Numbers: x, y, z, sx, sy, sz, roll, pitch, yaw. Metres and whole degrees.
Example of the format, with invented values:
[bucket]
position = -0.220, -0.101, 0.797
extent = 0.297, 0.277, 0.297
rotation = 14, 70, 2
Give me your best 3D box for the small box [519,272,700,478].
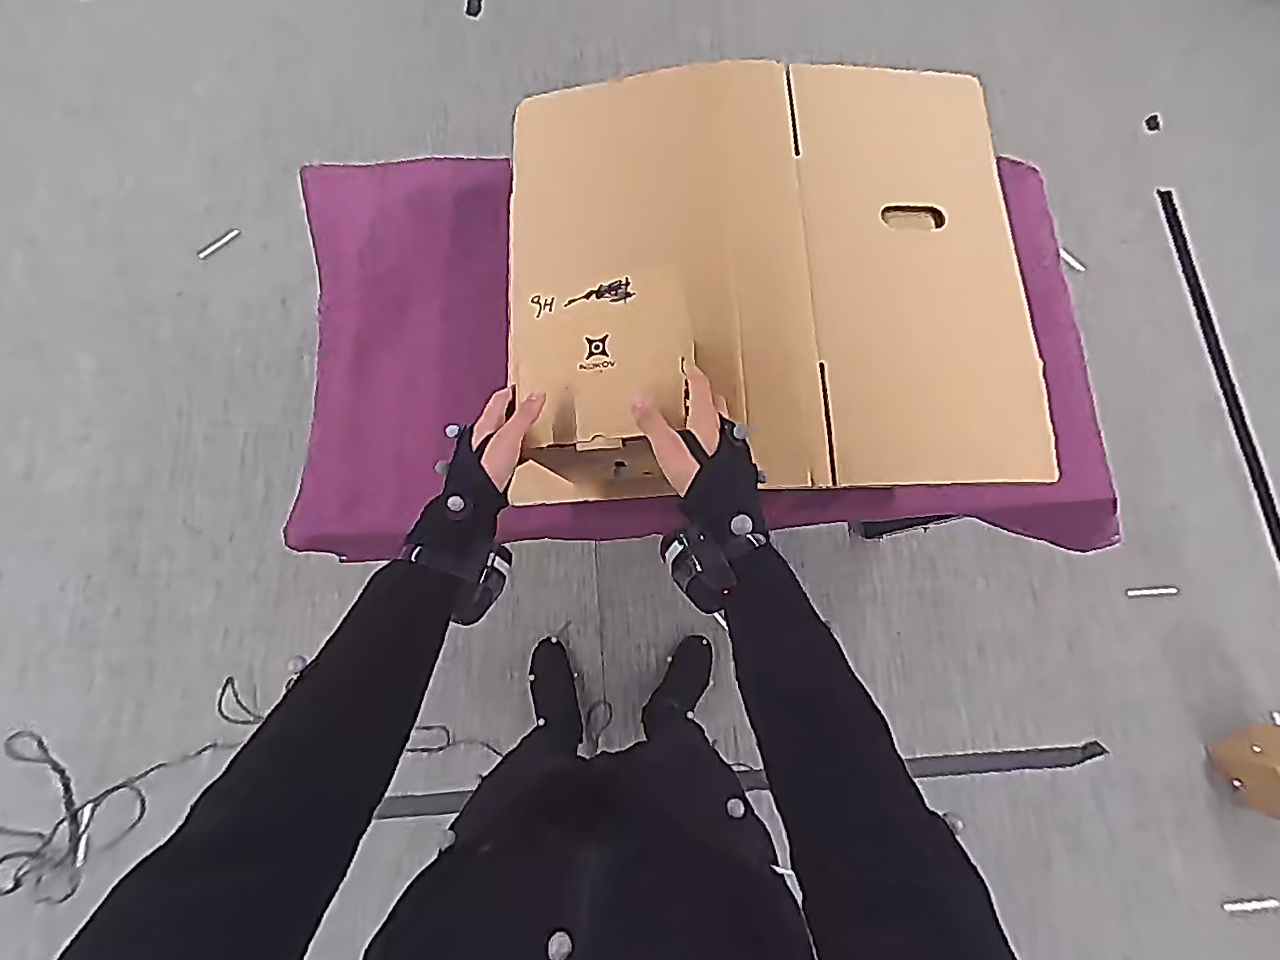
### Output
[small box]
position = -0.024, -0.100, 0.603
extent = 0.168, 0.176, 0.179
rotation = -4, 79, 10
